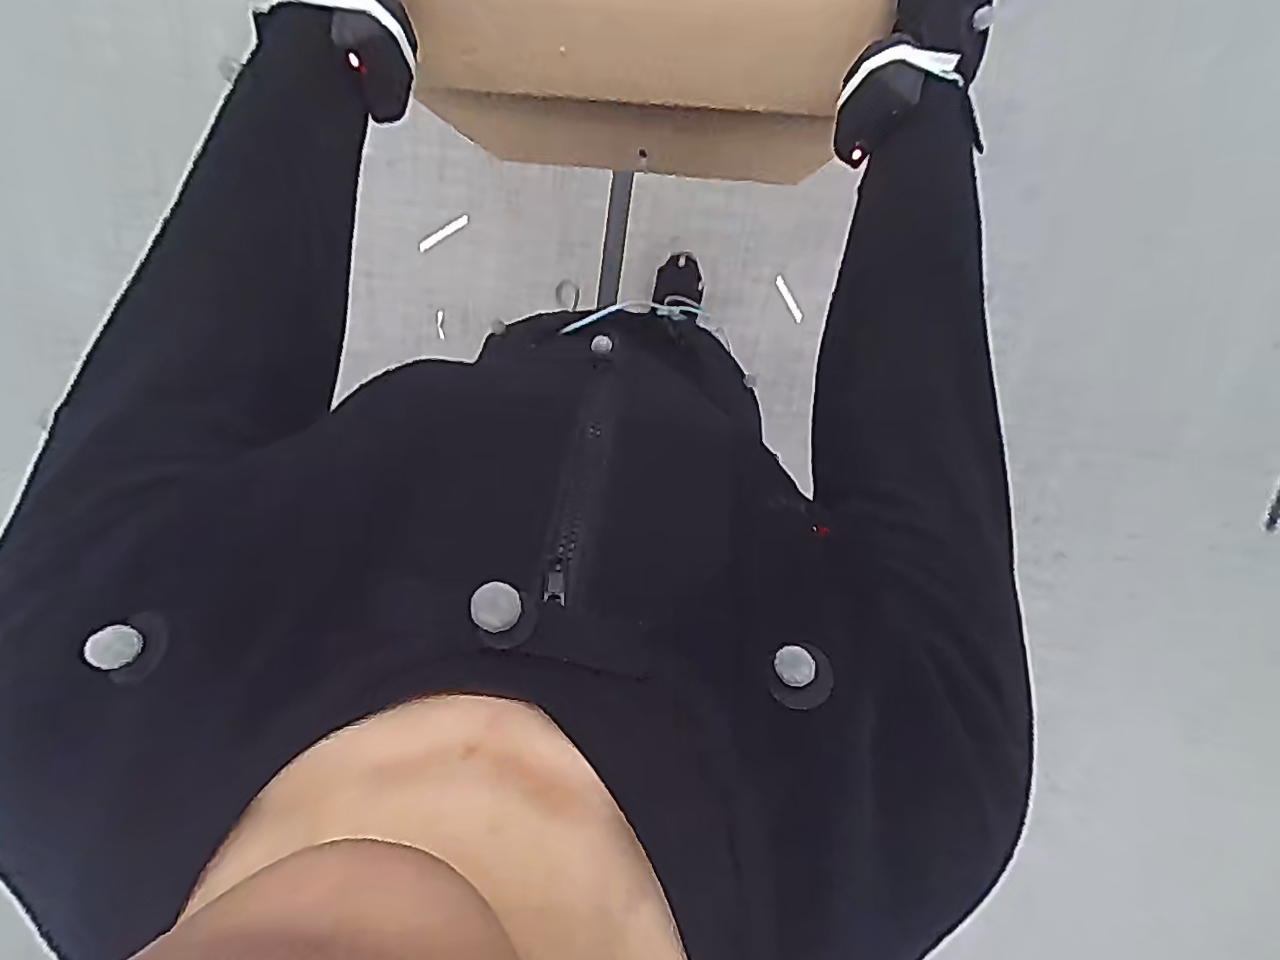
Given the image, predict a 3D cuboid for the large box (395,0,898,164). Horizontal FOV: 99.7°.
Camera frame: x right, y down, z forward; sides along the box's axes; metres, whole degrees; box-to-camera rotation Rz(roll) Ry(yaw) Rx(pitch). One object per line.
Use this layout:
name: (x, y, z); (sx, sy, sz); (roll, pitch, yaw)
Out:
large box: (0.018, -0.520, 0.530); (0.408, 0.320, 0.320); (6, 109, 2)
